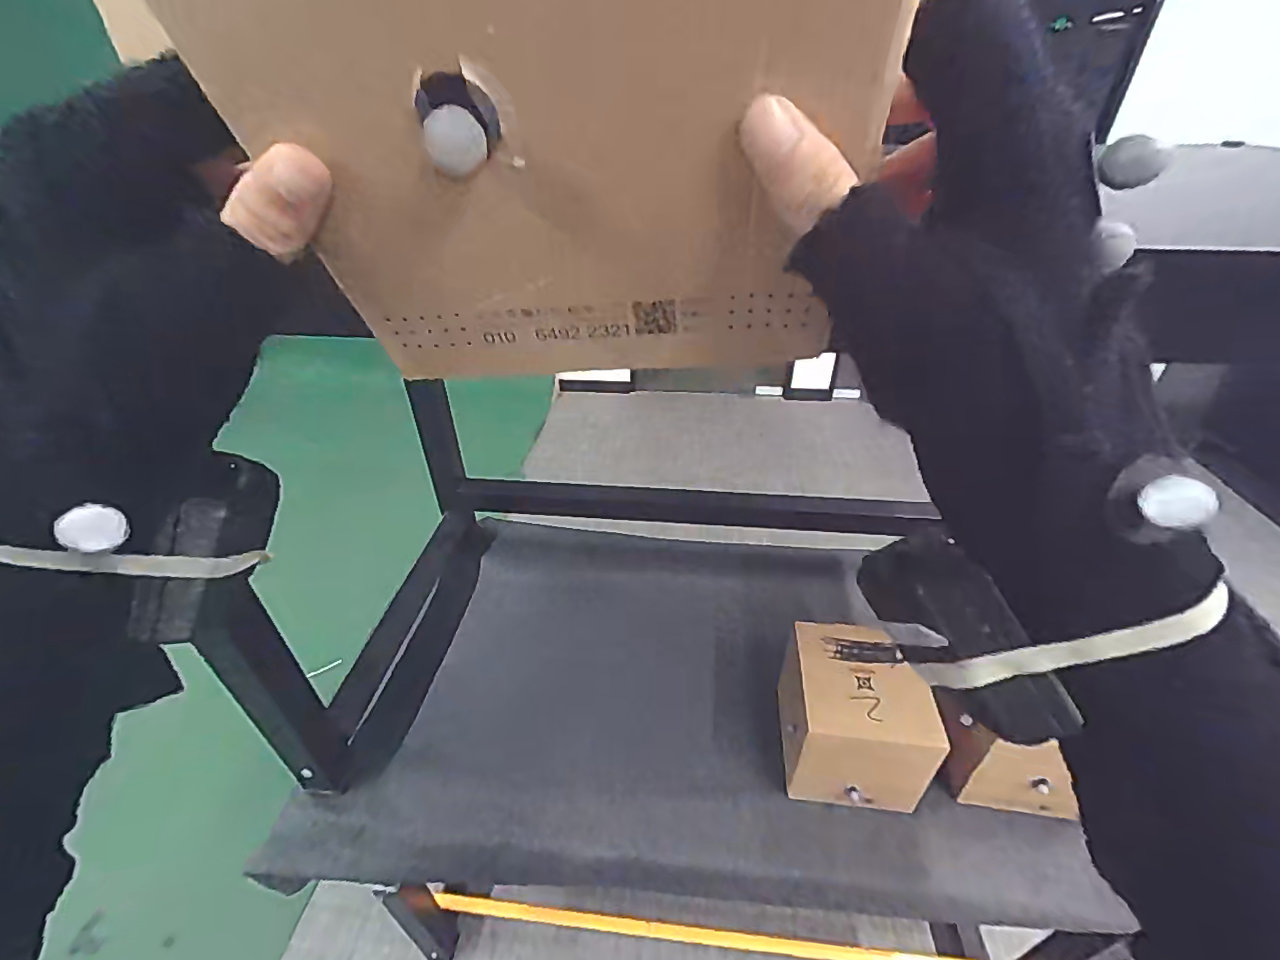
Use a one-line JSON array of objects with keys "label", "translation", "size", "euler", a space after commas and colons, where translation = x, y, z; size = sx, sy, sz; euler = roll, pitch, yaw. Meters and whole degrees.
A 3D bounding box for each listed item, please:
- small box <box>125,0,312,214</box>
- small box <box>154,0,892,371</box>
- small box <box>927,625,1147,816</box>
[{"label": "small box", "translation": [-0.223, -0.299, 0.395], "size": [0.168, 0.176, 0.179], "euler": [4, 36, 6]}, {"label": "small box", "translation": [-0.017, -0.152, 0.191], "size": [0.168, 0.176, 0.179], "euler": [-2, 57, 6]}, {"label": "small box", "translation": [0.527, 0.333, 0.752], "size": [0.168, 0.176, 0.179], "euler": [5, 35, 8]}]
